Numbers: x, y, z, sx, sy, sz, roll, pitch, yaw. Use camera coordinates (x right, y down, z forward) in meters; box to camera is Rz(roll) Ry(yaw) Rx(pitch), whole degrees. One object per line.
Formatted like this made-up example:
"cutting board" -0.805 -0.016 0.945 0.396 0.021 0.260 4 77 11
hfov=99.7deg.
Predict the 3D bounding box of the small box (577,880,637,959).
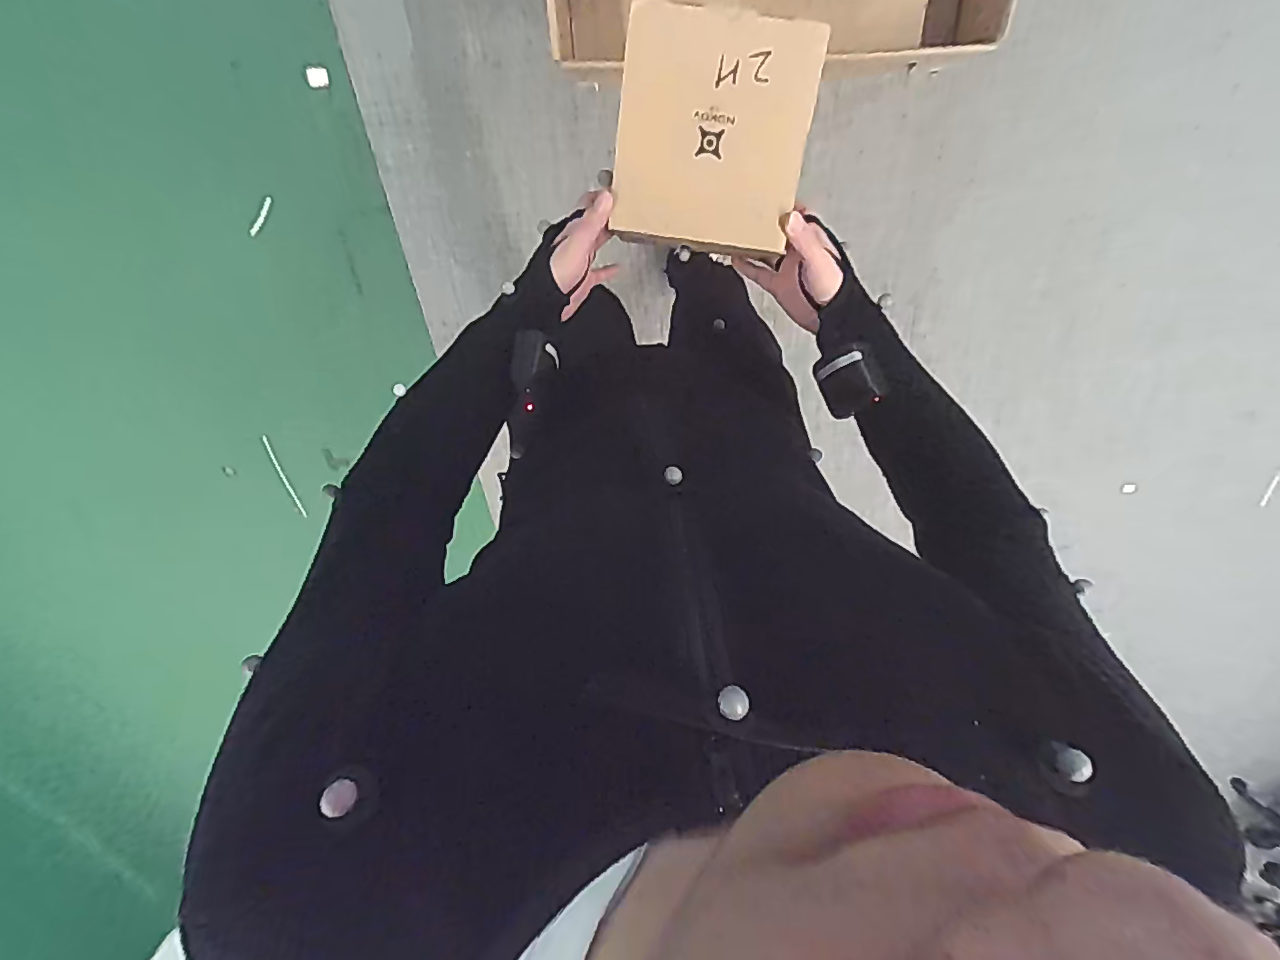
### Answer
"small box" -0.097 1.398 1.709 0.168 0.176 0.179 -4 122 3

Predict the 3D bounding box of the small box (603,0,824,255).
"small box" 0.061 -0.330 0.542 0.168 0.176 0.179 8 110 -2
